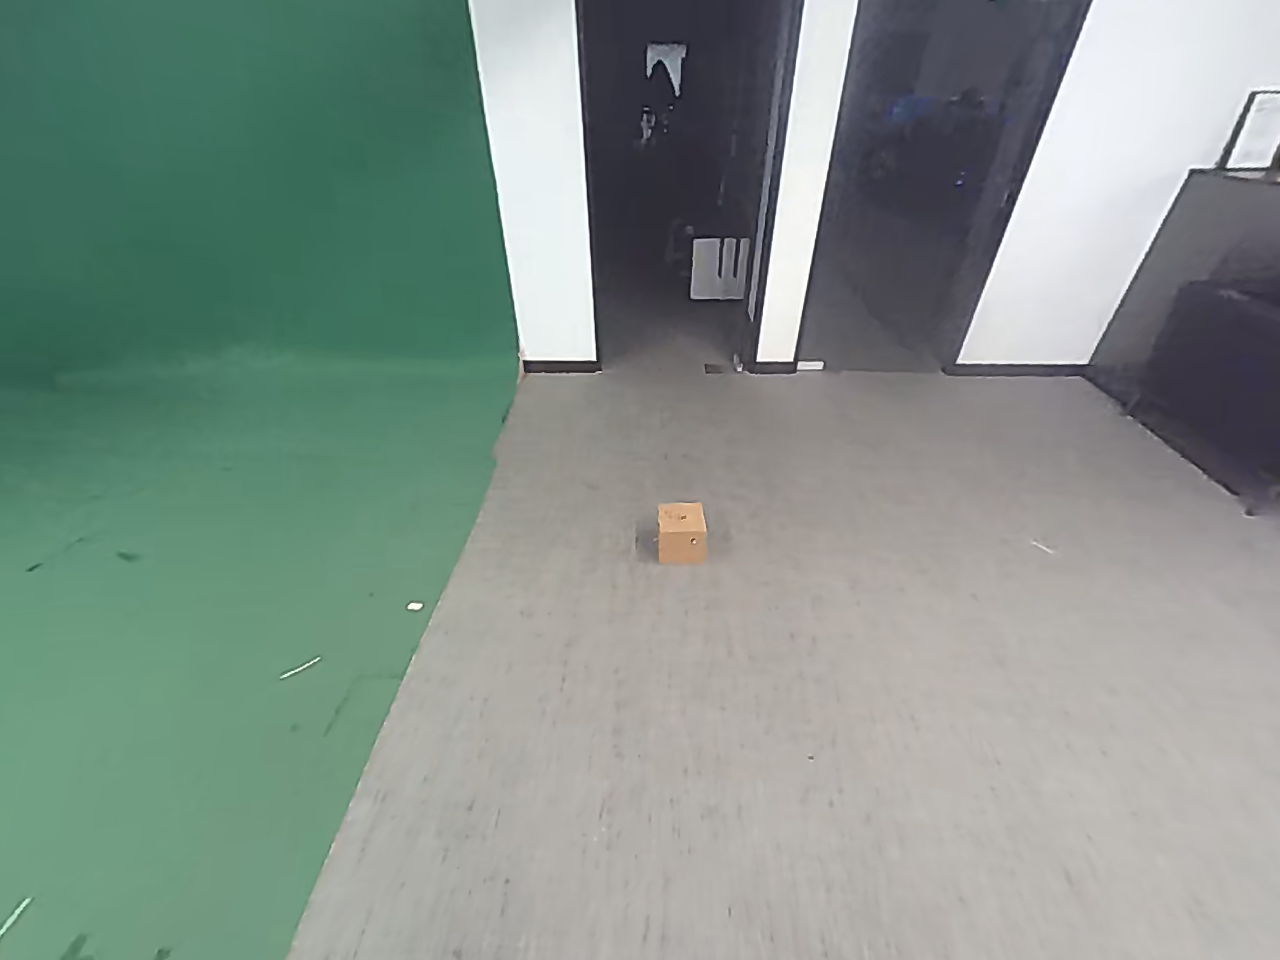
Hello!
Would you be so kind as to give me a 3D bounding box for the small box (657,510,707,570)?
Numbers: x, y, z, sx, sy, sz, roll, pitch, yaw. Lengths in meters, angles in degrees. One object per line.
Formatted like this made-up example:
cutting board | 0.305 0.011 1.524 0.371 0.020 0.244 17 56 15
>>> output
small box | 0.156 0.231 2.074 0.179 0.176 0.168 -1 37 -1
